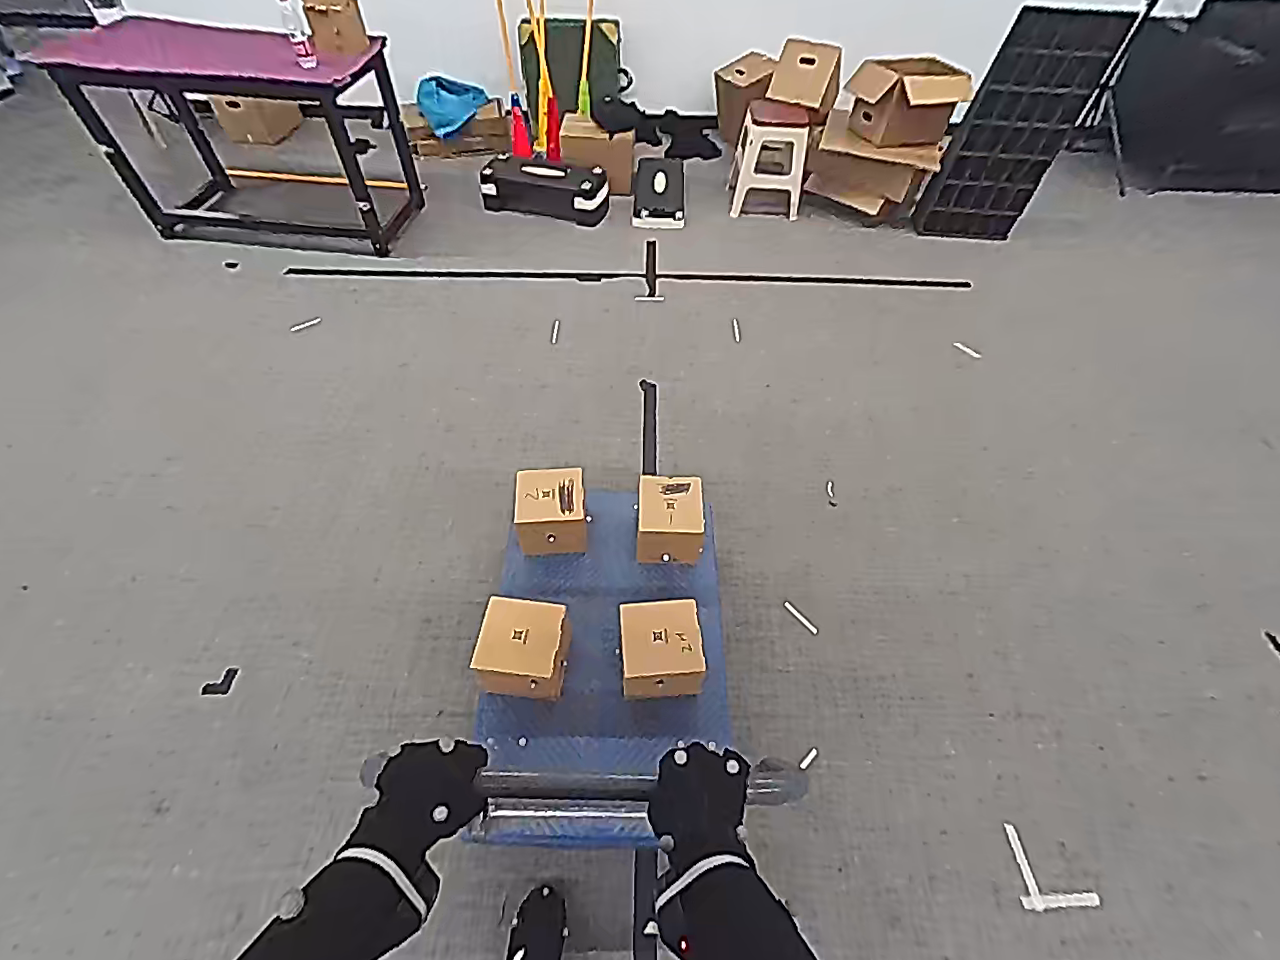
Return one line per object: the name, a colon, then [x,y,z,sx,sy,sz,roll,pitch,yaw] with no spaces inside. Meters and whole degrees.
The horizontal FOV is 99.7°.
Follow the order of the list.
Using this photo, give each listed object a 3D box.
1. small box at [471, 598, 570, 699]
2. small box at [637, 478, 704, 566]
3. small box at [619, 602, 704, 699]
small box: [-0.263,0.390,1.238,0.179,0.176,0.168,7,52,1]
small box: [0.079,0.114,1.459,0.168,0.176,0.179,2,54,0]
small box: [0.044,0.396,1.245,0.179,0.176,0.168,-3,53,-4]
